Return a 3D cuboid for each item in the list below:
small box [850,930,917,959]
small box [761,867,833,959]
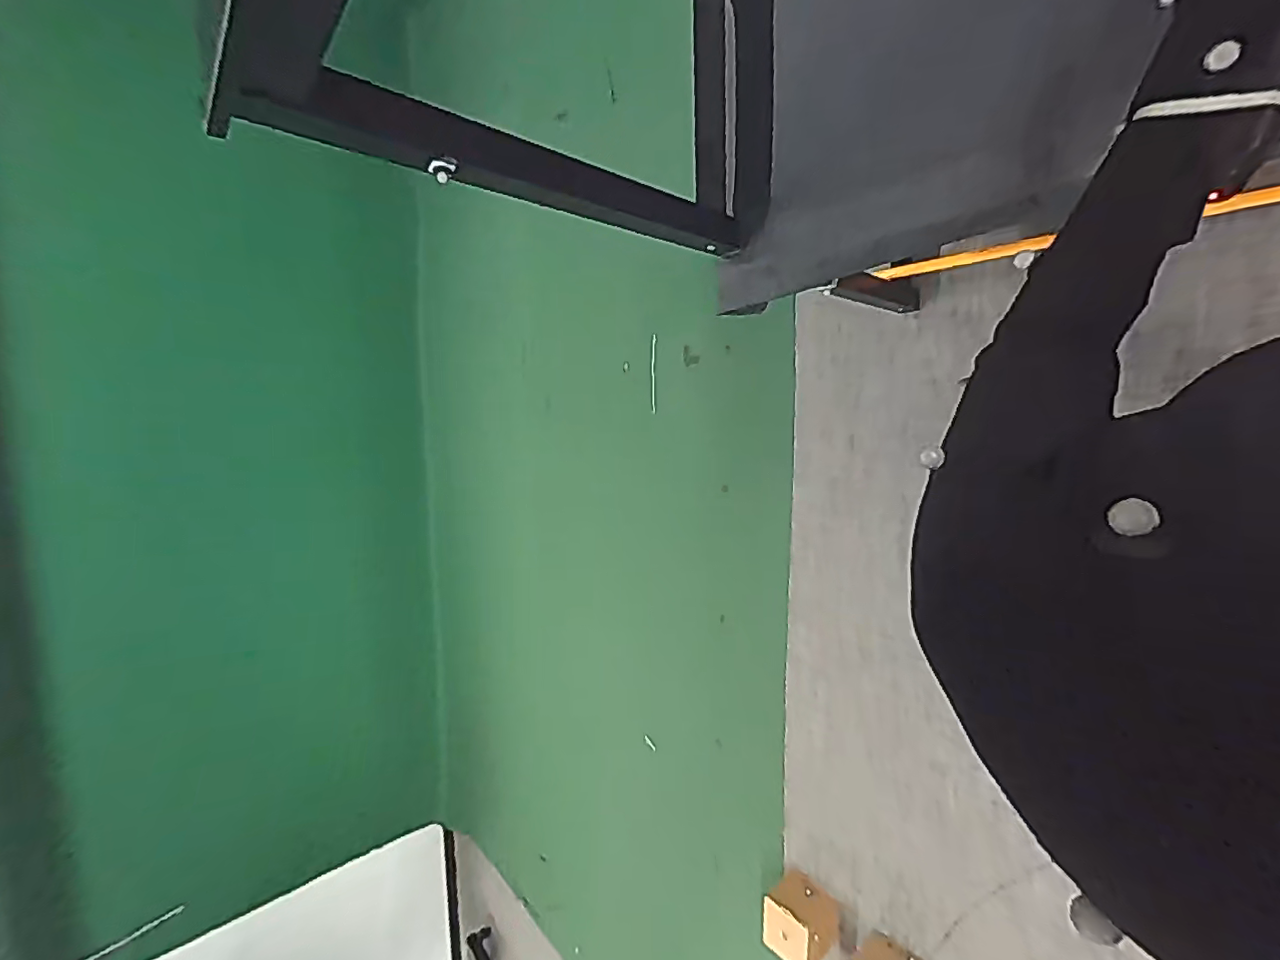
[{"bbox_3d":[0.708,1.460,1.549,0.168,0.176,0.179,1,96,49],"label":"small box"},{"bbox_3d":[0.515,1.429,1.767,0.168,0.176,0.179,7,99,48],"label":"small box"}]
